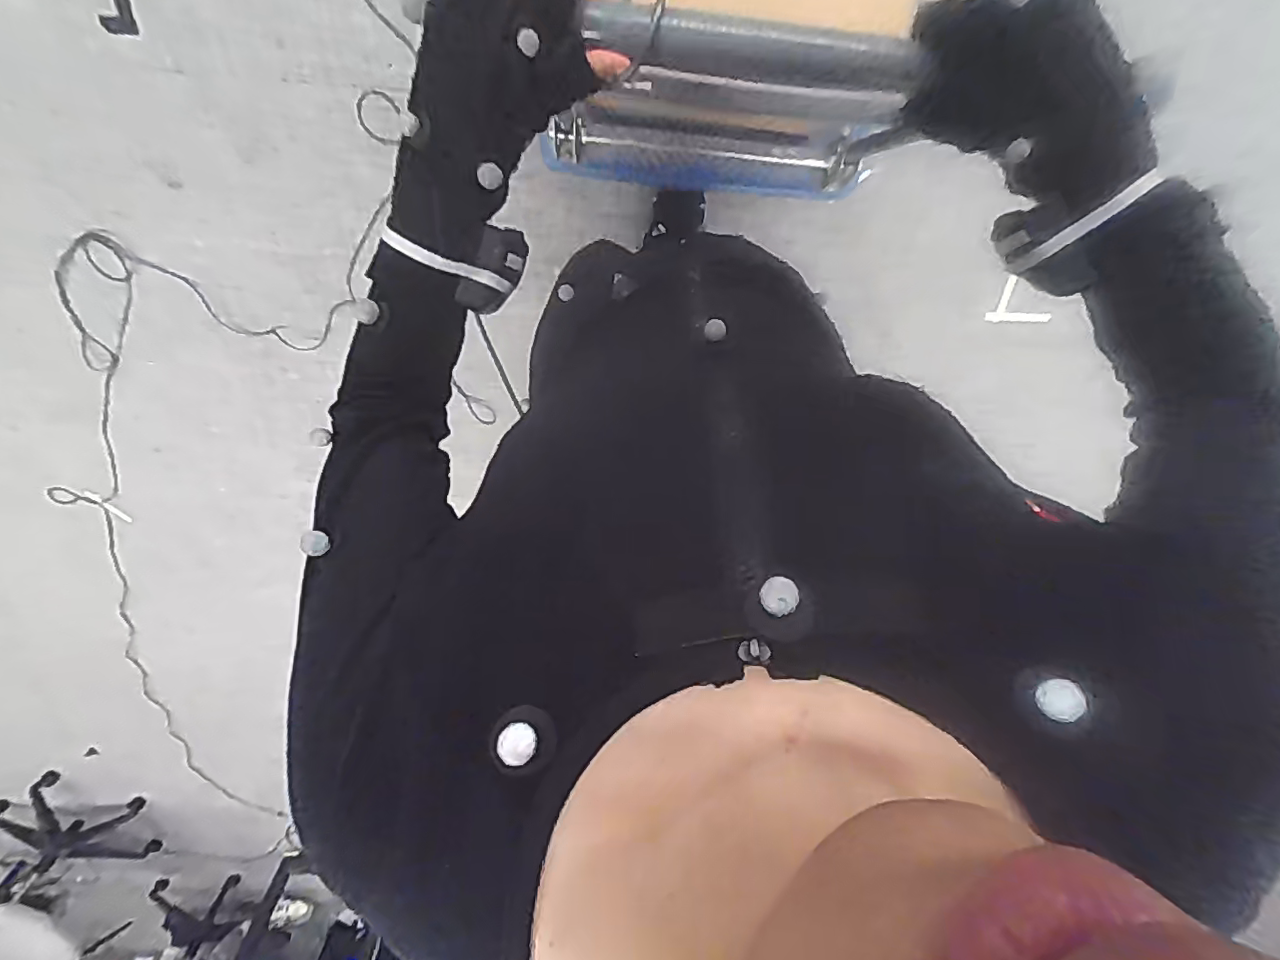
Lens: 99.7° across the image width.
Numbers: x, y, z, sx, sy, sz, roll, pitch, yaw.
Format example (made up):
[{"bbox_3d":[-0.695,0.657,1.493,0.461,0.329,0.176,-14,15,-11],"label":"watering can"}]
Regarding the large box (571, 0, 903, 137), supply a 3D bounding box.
[{"bbox_3d":[0.114,-0.698,0.744,0.408,0.320,0.320,3,113,-6],"label":"large box"}]
